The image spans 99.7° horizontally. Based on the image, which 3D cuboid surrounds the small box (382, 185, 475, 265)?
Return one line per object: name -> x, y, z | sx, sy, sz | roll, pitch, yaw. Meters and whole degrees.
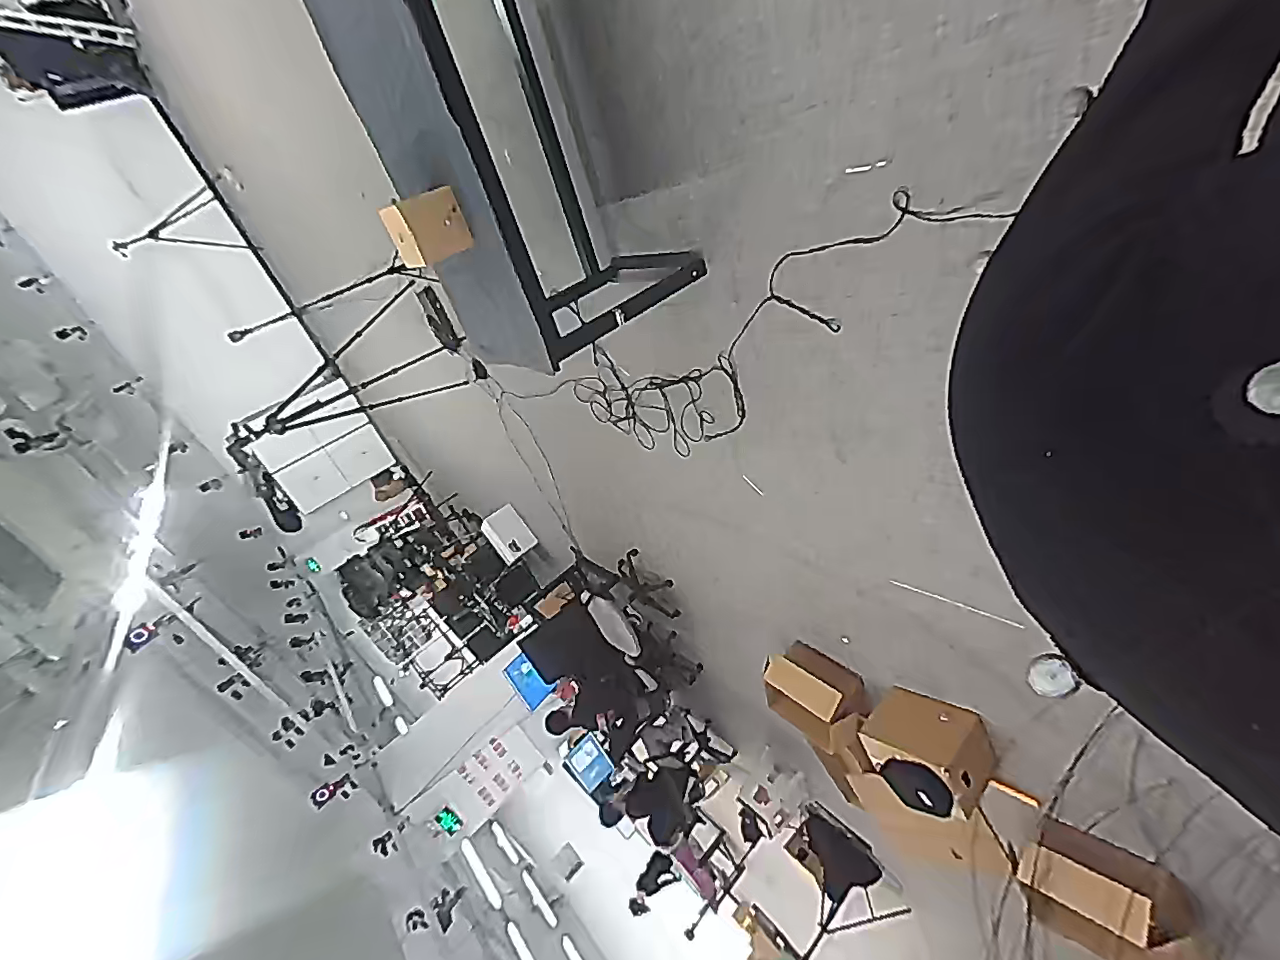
small box -> -0.611, -0.739, 1.575 | 0.179, 0.176, 0.168 | 22, 141, 47
